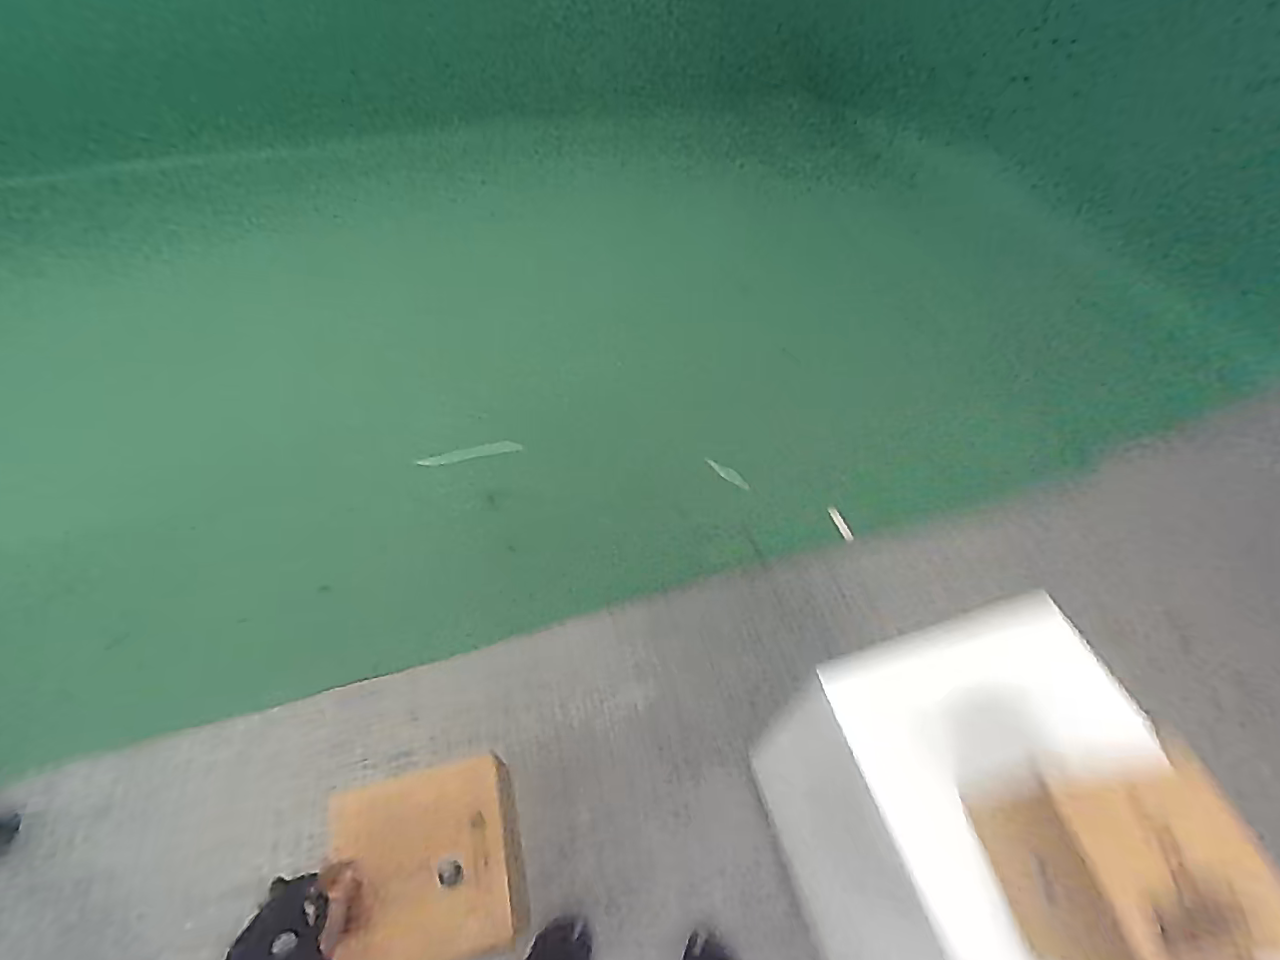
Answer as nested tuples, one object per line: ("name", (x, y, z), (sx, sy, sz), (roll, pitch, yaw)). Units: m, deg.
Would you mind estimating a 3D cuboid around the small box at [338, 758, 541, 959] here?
("small box", (-0.204, 0.420, 0.585), (0.176, 0.179, 0.168), (-10, 56, -13))
